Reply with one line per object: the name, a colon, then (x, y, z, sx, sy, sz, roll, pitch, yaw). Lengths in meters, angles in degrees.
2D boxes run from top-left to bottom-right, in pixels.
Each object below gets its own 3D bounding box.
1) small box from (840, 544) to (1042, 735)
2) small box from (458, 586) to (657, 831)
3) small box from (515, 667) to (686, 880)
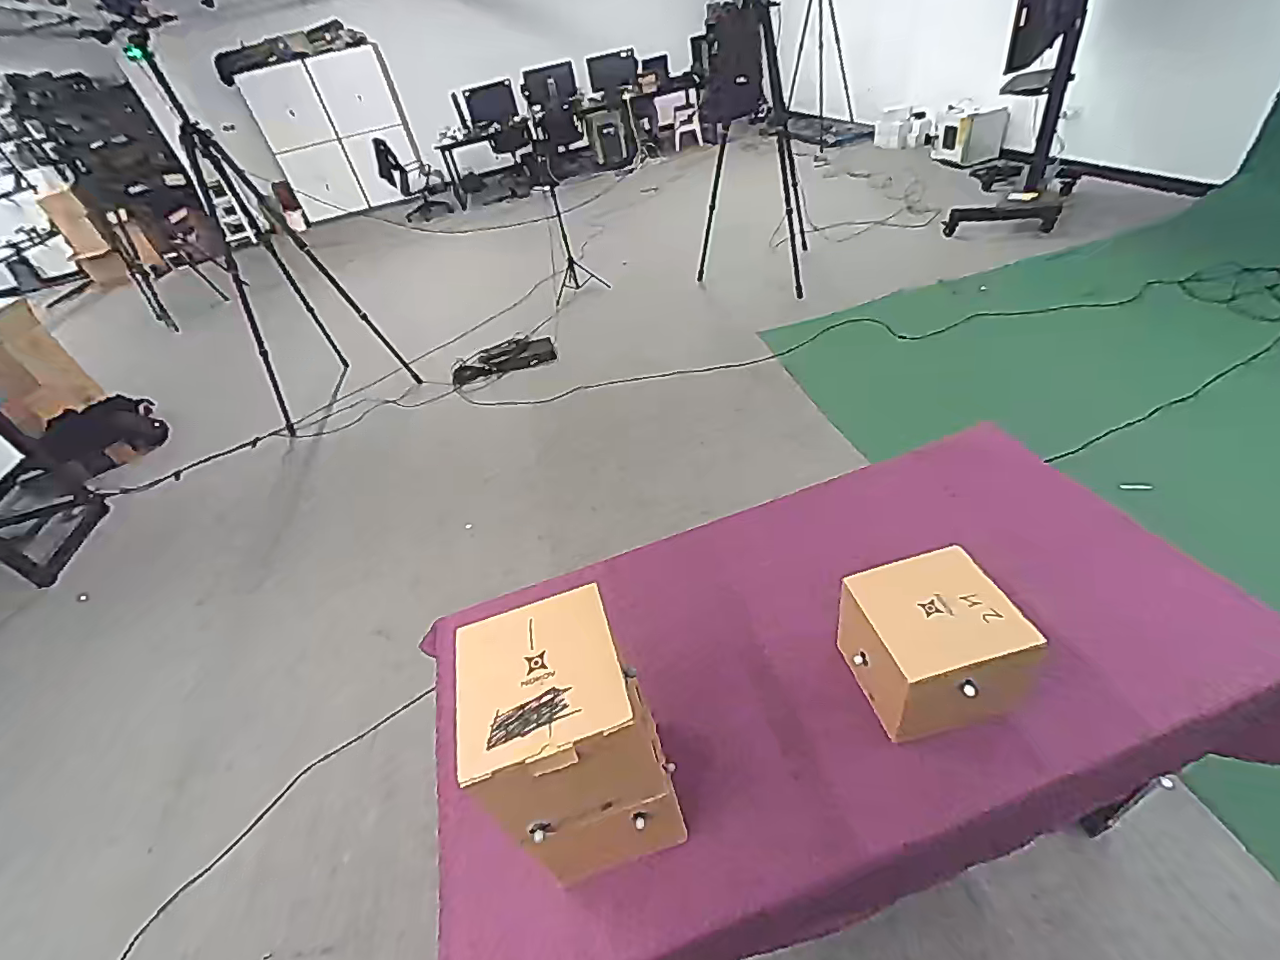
small box: (0.393, 0.222, 0.743, 0.179, 0.176, 0.168, -16, 40, -1)
small box: (-0.090, 0.257, 0.601, 0.168, 0.176, 0.179, -18, 38, -5)
small box: (-0.055, 0.382, 0.702, 0.179, 0.176, 0.168, -18, 40, -5)
